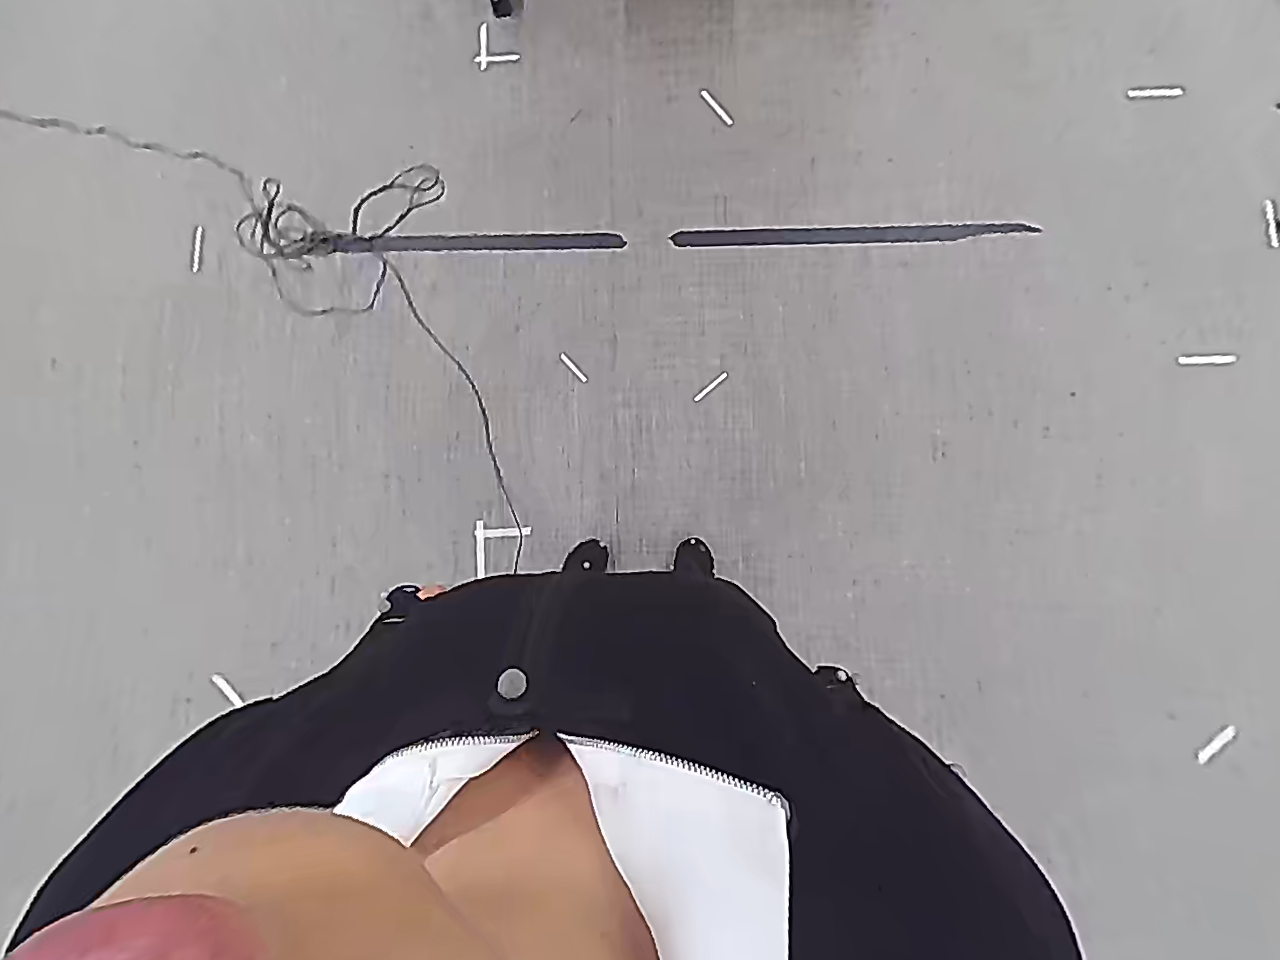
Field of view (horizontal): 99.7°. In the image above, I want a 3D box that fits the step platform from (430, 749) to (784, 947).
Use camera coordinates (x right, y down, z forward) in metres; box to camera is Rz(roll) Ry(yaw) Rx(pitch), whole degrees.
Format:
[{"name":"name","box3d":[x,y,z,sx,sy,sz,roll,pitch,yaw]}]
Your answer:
[{"name":"step platform","box3d":[-0.064,0.745,1.127,0.684,0.204,0.286,-3,84,2]}]
